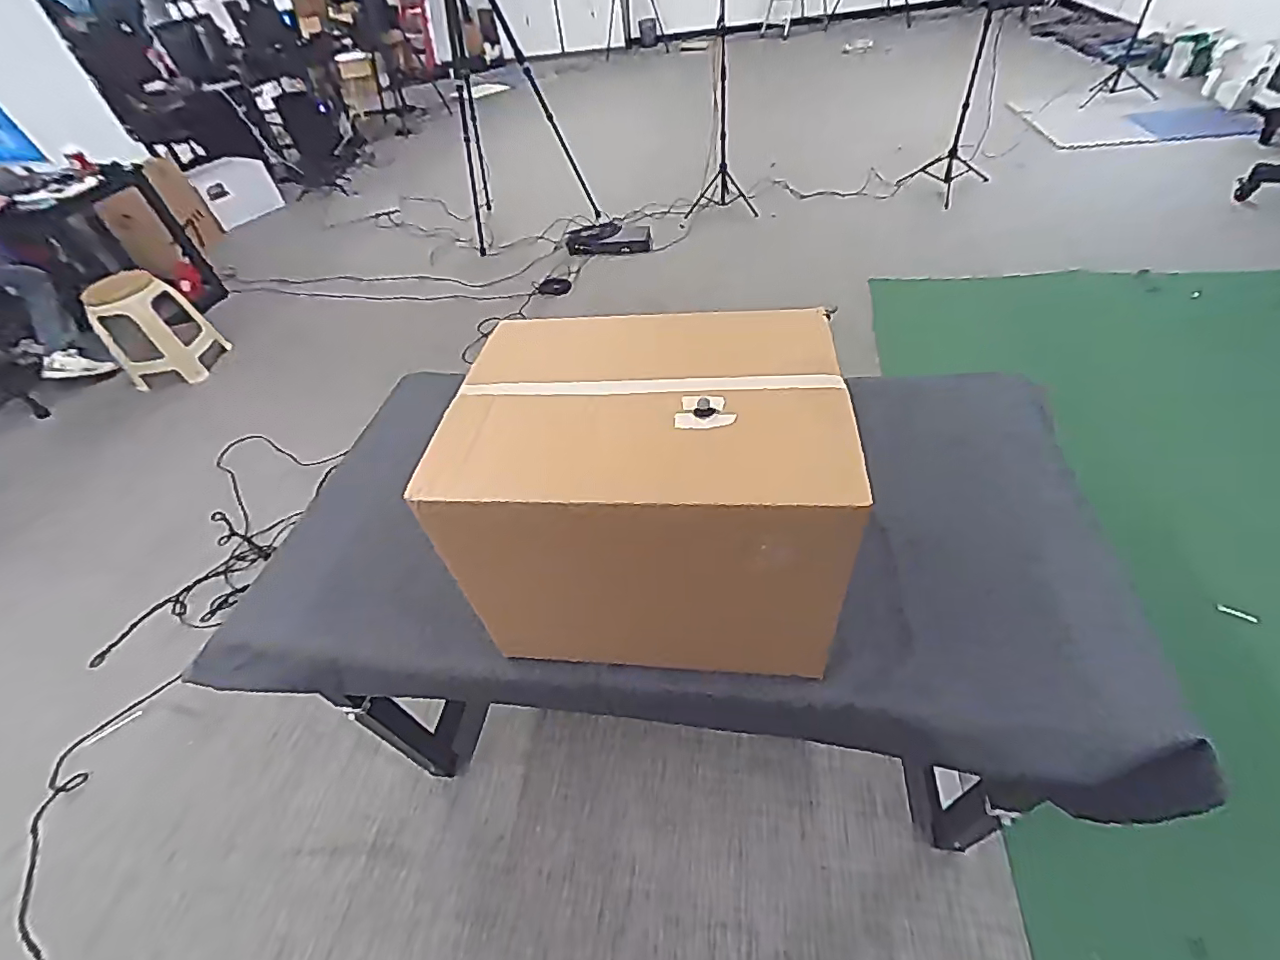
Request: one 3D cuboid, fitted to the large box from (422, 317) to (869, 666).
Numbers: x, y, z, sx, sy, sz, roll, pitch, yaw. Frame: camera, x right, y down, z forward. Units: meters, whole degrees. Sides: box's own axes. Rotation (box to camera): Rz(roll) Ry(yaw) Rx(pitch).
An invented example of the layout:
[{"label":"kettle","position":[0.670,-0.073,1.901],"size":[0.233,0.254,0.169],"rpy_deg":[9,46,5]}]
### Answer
[{"label":"large box","position":[0.021,0.015,0.677],"size":[0.408,0.320,0.320],"rpy_deg":[1,46,8]}]
